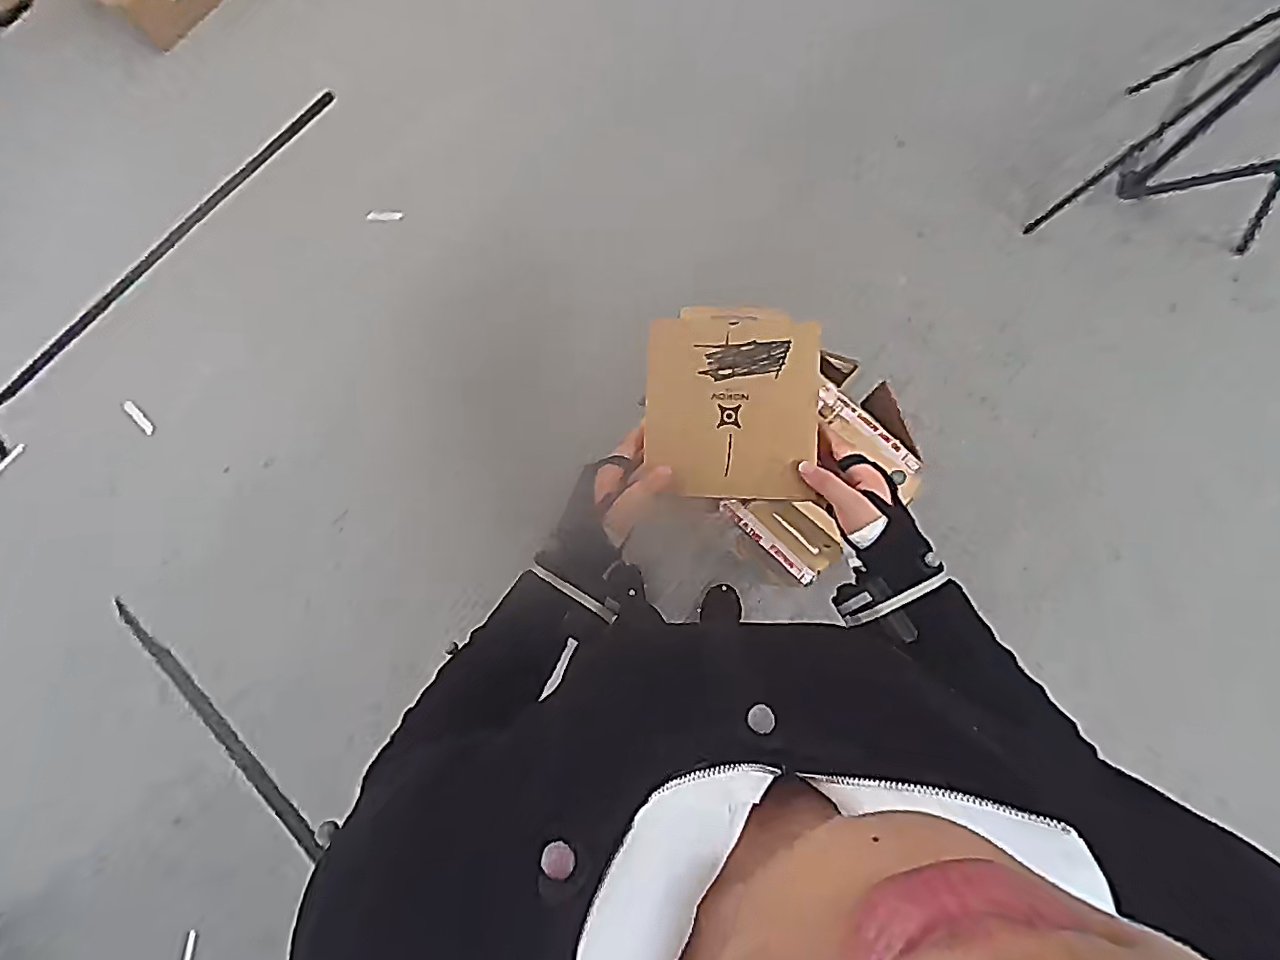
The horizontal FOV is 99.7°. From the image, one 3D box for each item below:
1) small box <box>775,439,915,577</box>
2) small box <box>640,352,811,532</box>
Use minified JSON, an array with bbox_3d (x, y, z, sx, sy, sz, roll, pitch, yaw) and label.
[{"bbox_3d":[0.342,0.055,0.974,0.179,0.176,0.168,40,85,9],"label":"small box"},{"bbox_3d":[0.088,-0.036,0.608,0.168,0.176,0.179,1,90,4],"label":"small box"}]
